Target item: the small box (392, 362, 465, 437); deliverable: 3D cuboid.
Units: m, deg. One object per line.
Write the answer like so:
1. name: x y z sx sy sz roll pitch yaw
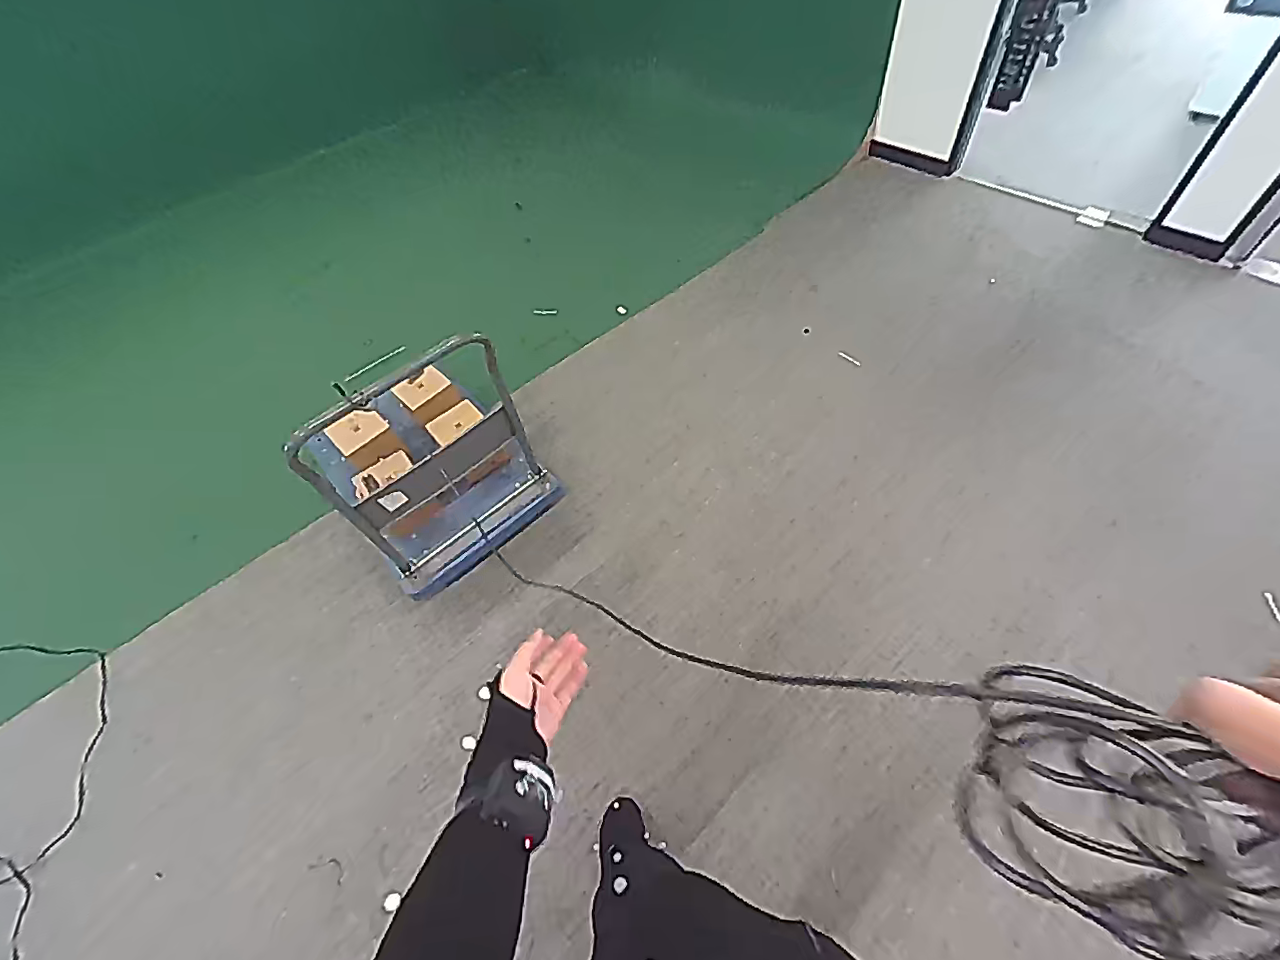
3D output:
1. small box: -0.742 -0.284 1.935 0.179 0.176 0.168 38 68 27

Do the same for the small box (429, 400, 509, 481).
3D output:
1. small box: -0.565 -0.128 1.803 0.168 0.176 0.179 -37 59 -17

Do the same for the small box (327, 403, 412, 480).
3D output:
1. small box: -0.918 -0.125 1.849 0.168 0.176 0.179 -41 60 -20
